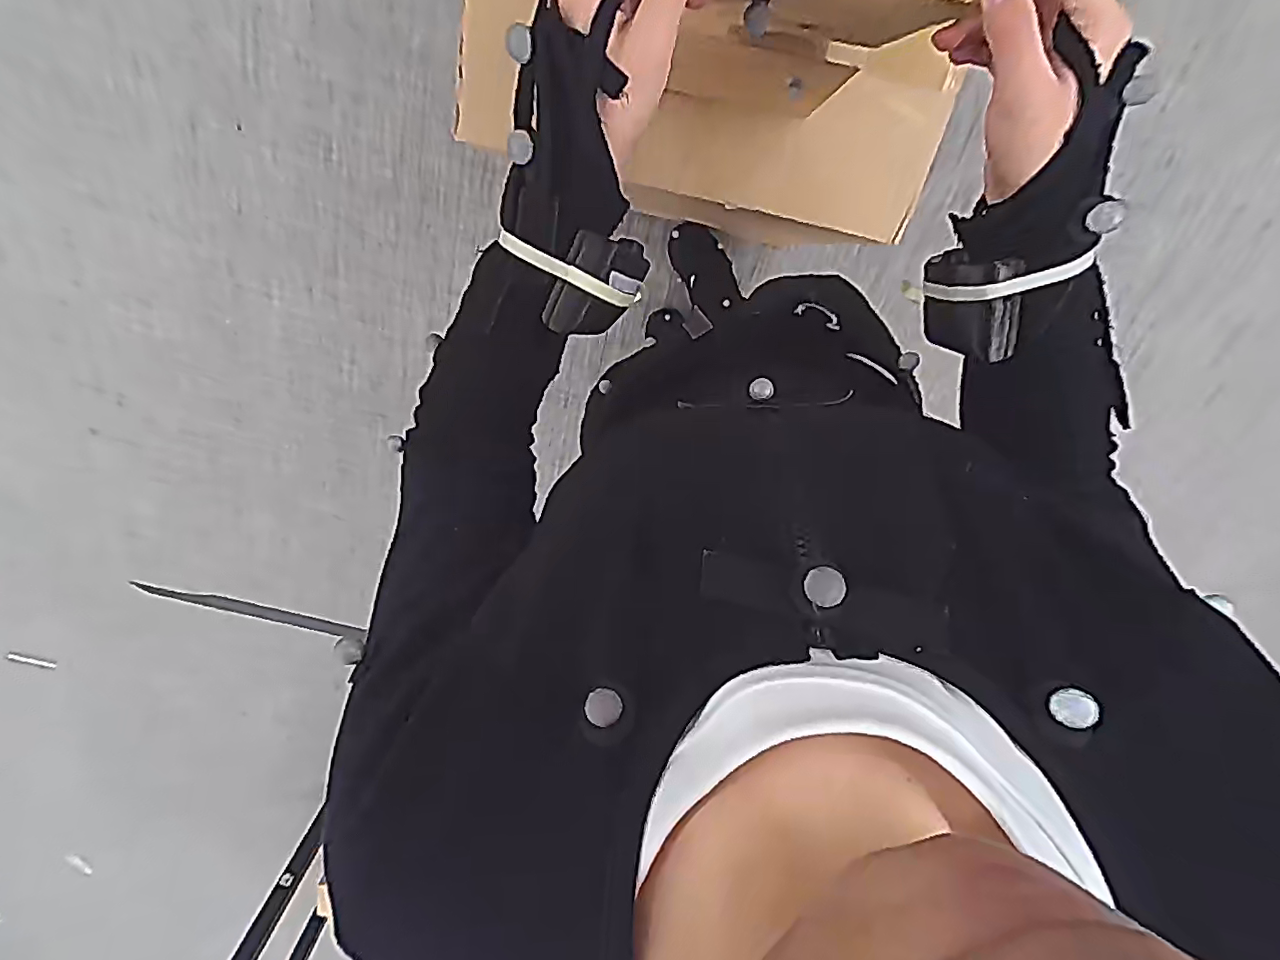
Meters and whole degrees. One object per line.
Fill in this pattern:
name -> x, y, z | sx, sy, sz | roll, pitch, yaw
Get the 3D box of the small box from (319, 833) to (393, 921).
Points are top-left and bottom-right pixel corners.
small box -> -0.946, 1.326, 1.812 | 0.168, 0.176, 0.179 | 14, 114, -5

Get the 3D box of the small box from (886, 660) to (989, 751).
small box -> 0.859, 0.653, 1.578 | 0.179, 0.176, 0.168 | 12, 113, -3

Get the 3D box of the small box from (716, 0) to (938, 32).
small box -> 0.104, -0.350, 0.263 | 0.168, 0.176, 0.179 | 7, 122, -3
